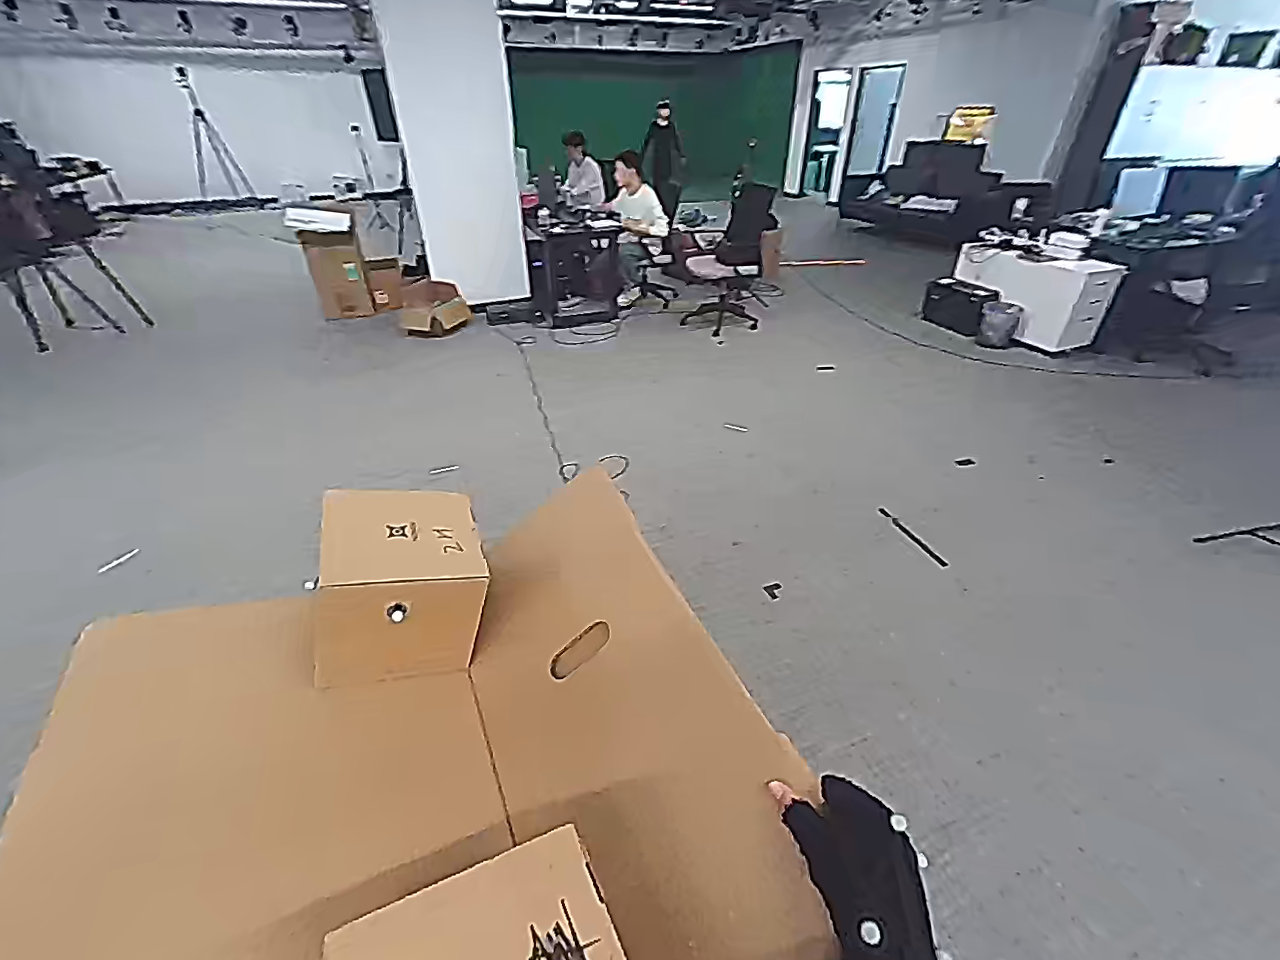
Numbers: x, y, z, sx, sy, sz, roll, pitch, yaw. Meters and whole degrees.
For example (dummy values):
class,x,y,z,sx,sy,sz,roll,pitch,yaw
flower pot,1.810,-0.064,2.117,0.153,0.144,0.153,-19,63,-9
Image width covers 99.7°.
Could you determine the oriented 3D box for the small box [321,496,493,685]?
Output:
class,x,y,z,sx,sy,sz,roll,pitch,yaw
small box,-0.300,0.137,0.685,0.179,0.176,0.168,3,34,-29
